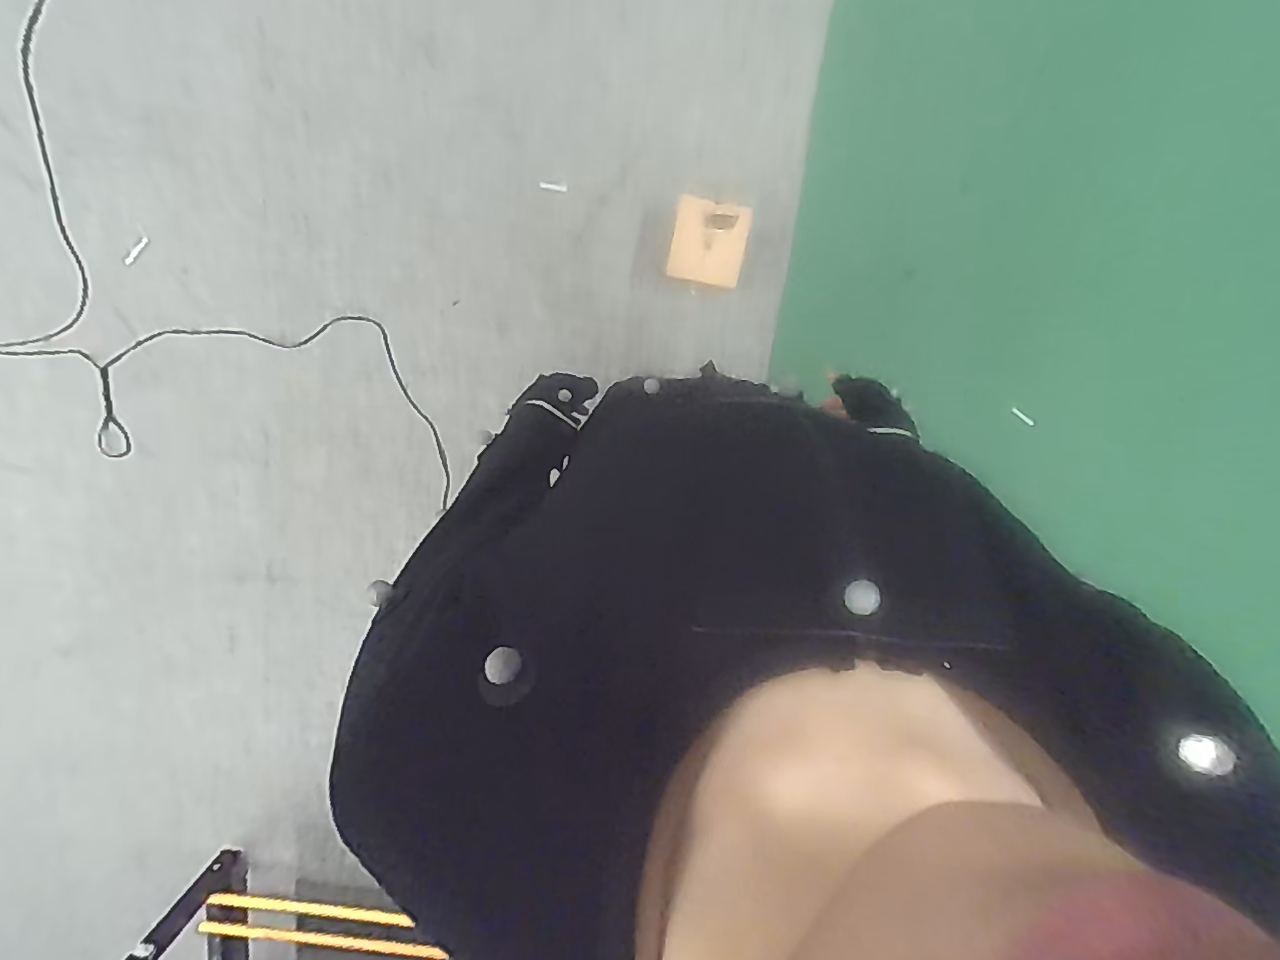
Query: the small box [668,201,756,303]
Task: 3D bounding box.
[{"bbox_3d":[0.163,-0.537,1.295,0.168,0.176,0.179,11,102,-1],"label":"small box"}]
